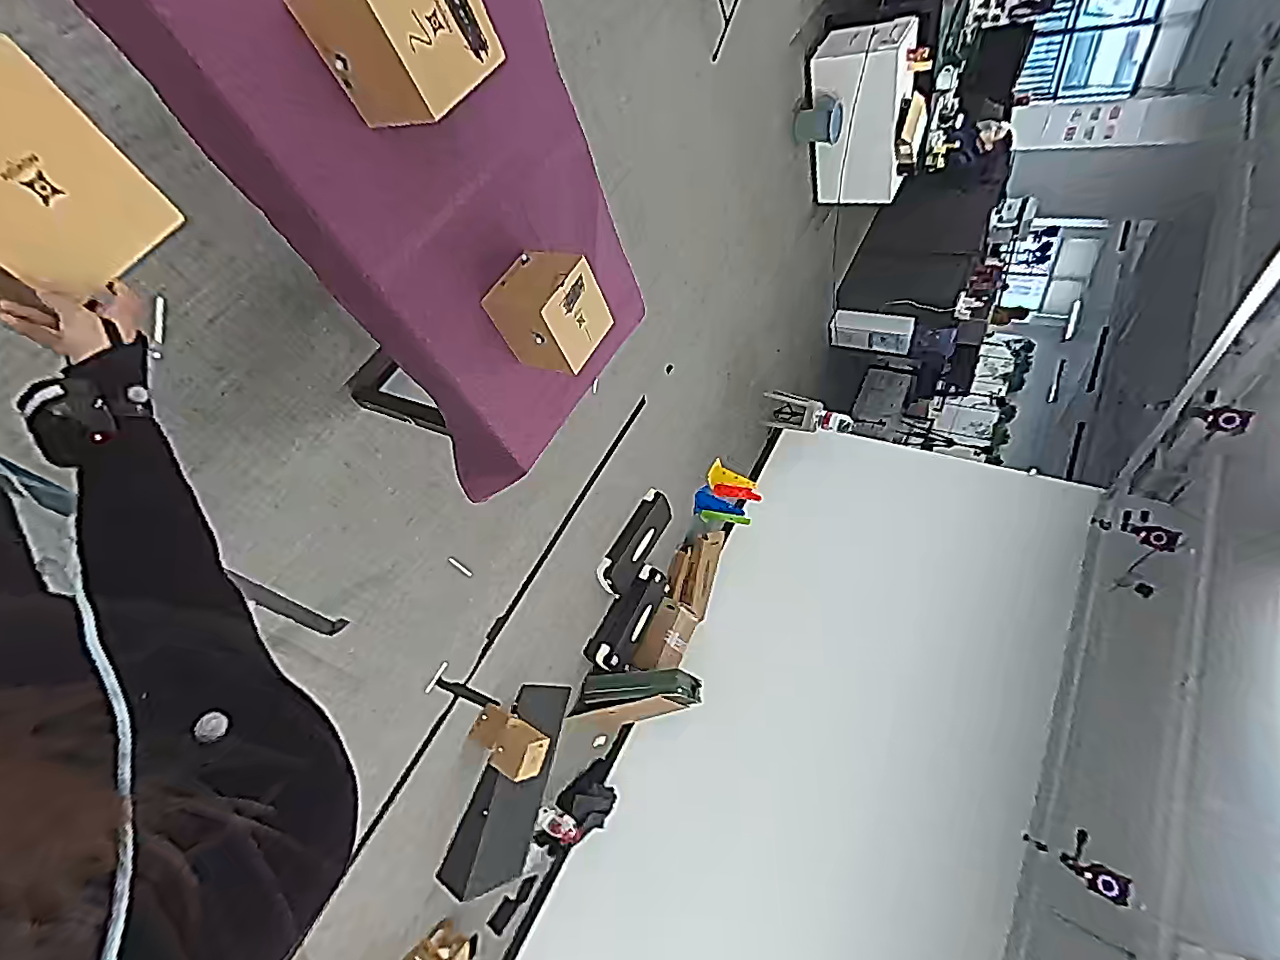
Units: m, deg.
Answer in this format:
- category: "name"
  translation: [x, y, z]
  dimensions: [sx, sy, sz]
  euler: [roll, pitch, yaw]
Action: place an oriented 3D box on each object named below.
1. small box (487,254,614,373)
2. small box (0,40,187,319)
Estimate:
- category: "small box"
  translation: [-0.187, -0.354, 1.141]
  dimensions: [0.168, 0.176, 0.179]
  euler: [-59, 148, -22]
- category: "small box"
  translation: [-0.624, -0.280, 0.529]
  dimensions: [0.179, 0.176, 0.168]
  euler: [63, 39, -52]
